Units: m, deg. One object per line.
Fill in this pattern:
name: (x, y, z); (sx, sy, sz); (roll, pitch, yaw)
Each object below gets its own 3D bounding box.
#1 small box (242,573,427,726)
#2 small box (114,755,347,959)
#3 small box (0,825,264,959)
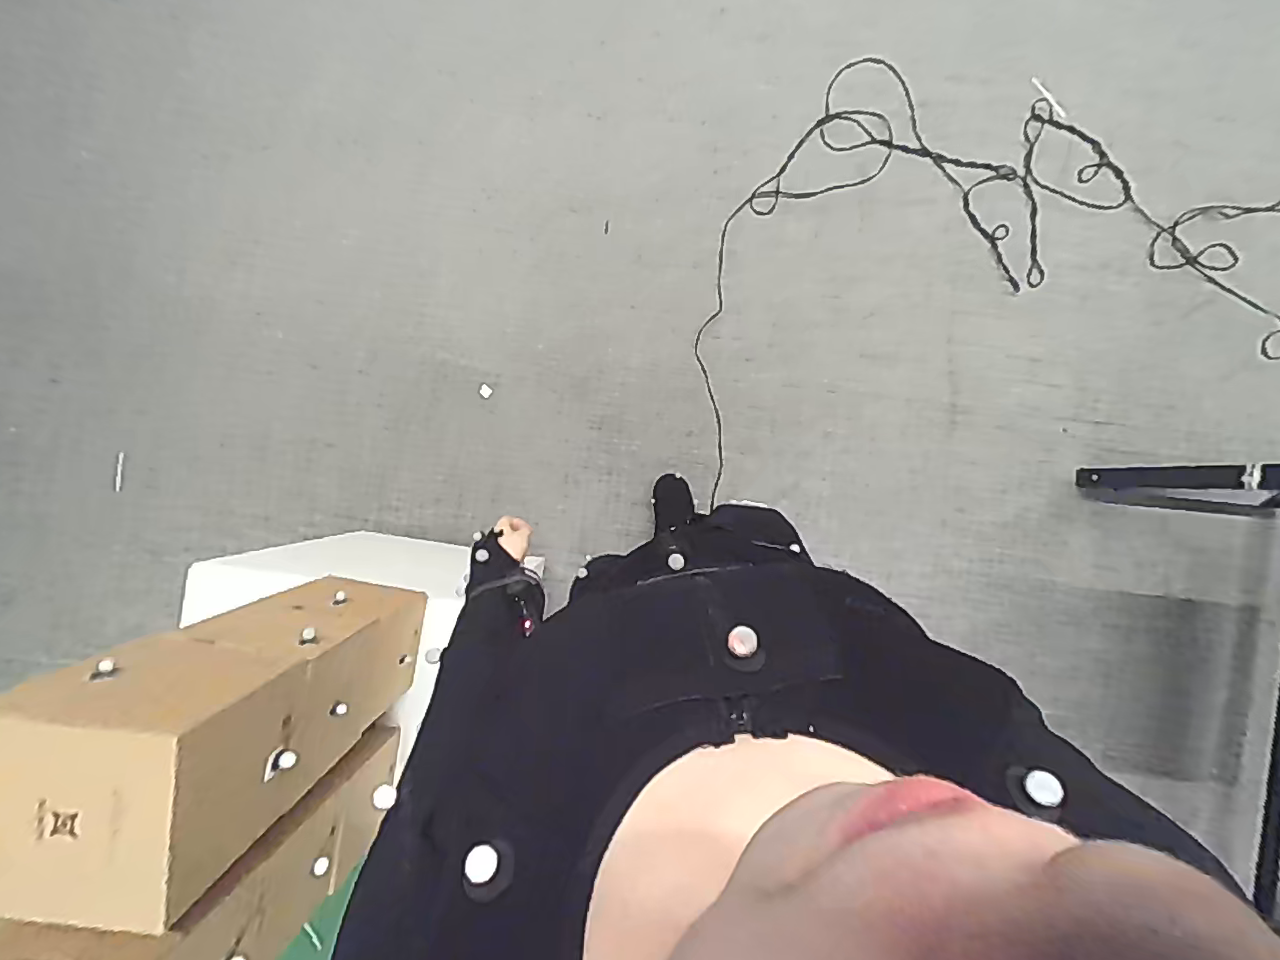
small box: (-0.458, 0.248, 0.835); (0.179, 0.176, 0.168); (10, 92, 0)
small box: (-0.505, 0.470, 0.673); (0.179, 0.176, 0.168); (9, 90, 0)
small box: (-0.498, 0.466, 0.508); (0.168, 0.176, 0.179); (10, 89, 1)
